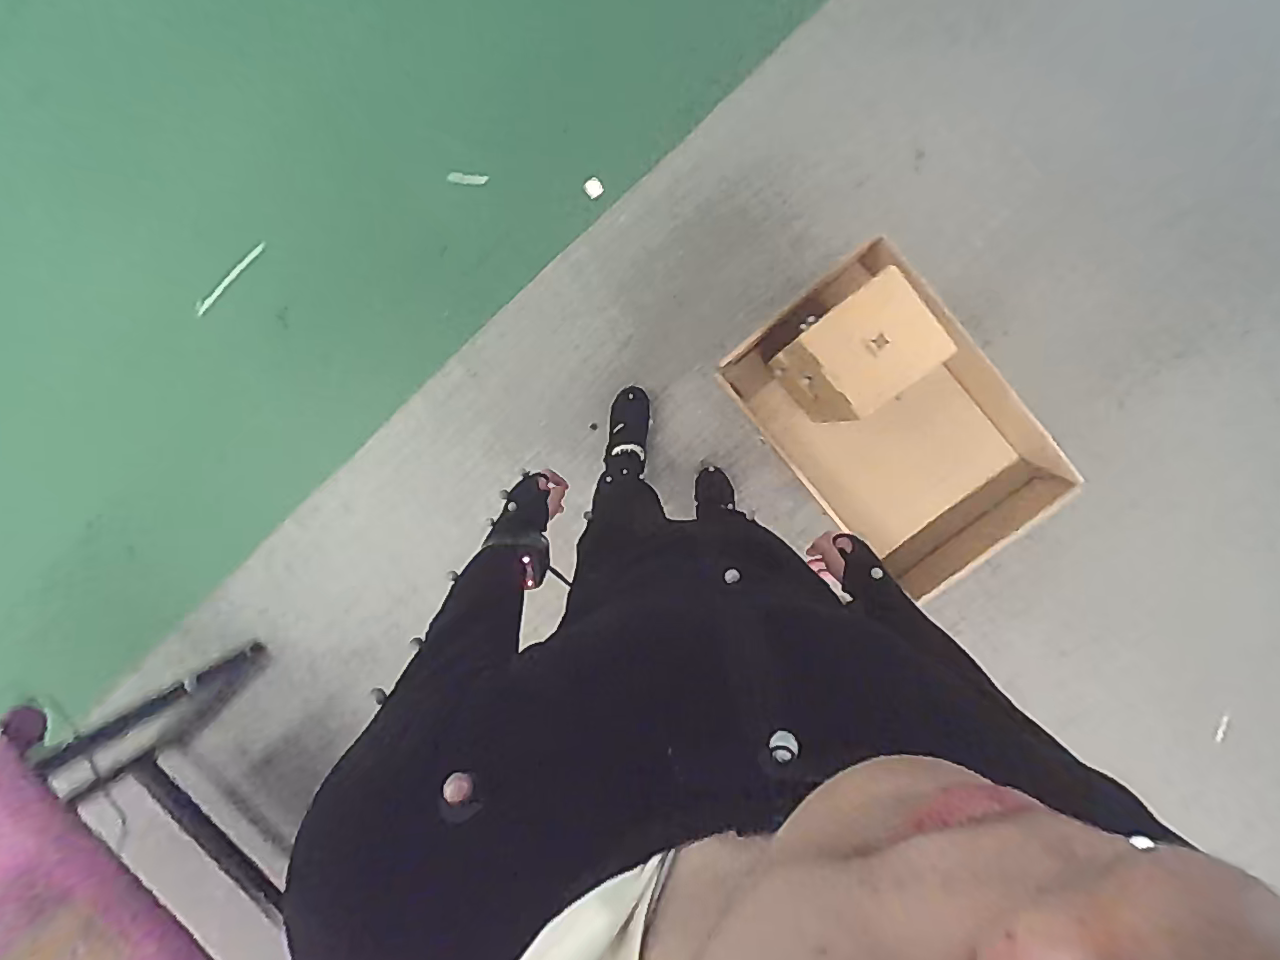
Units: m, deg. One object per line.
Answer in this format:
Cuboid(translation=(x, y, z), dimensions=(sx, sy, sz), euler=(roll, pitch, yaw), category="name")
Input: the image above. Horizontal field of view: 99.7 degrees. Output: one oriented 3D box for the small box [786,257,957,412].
Cuboid(translation=(0.368, -0.229, 0.896), dimensions=(0.179, 0.176, 0.168), euler=(-37, 92, 8), category="small box")
